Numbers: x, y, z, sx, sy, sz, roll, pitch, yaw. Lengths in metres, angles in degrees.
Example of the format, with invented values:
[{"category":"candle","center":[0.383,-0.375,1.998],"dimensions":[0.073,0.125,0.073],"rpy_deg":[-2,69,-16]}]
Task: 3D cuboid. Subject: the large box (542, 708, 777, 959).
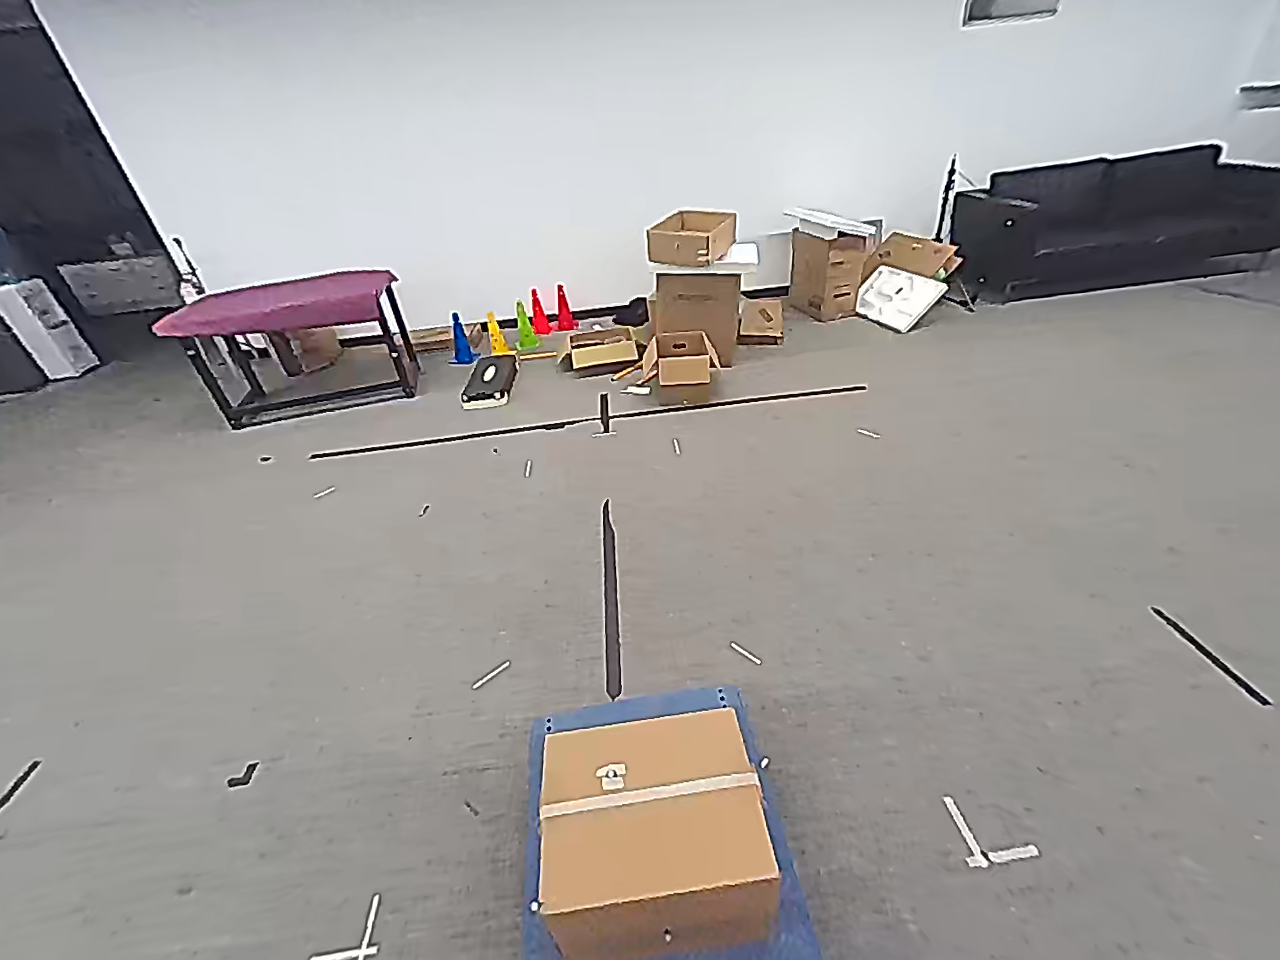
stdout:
[{"category":"large box","center":[0.034,0.723,1.105],"dimensions":[0.408,0.320,0.320],"rpy_deg":[-9,34,-2]}]
